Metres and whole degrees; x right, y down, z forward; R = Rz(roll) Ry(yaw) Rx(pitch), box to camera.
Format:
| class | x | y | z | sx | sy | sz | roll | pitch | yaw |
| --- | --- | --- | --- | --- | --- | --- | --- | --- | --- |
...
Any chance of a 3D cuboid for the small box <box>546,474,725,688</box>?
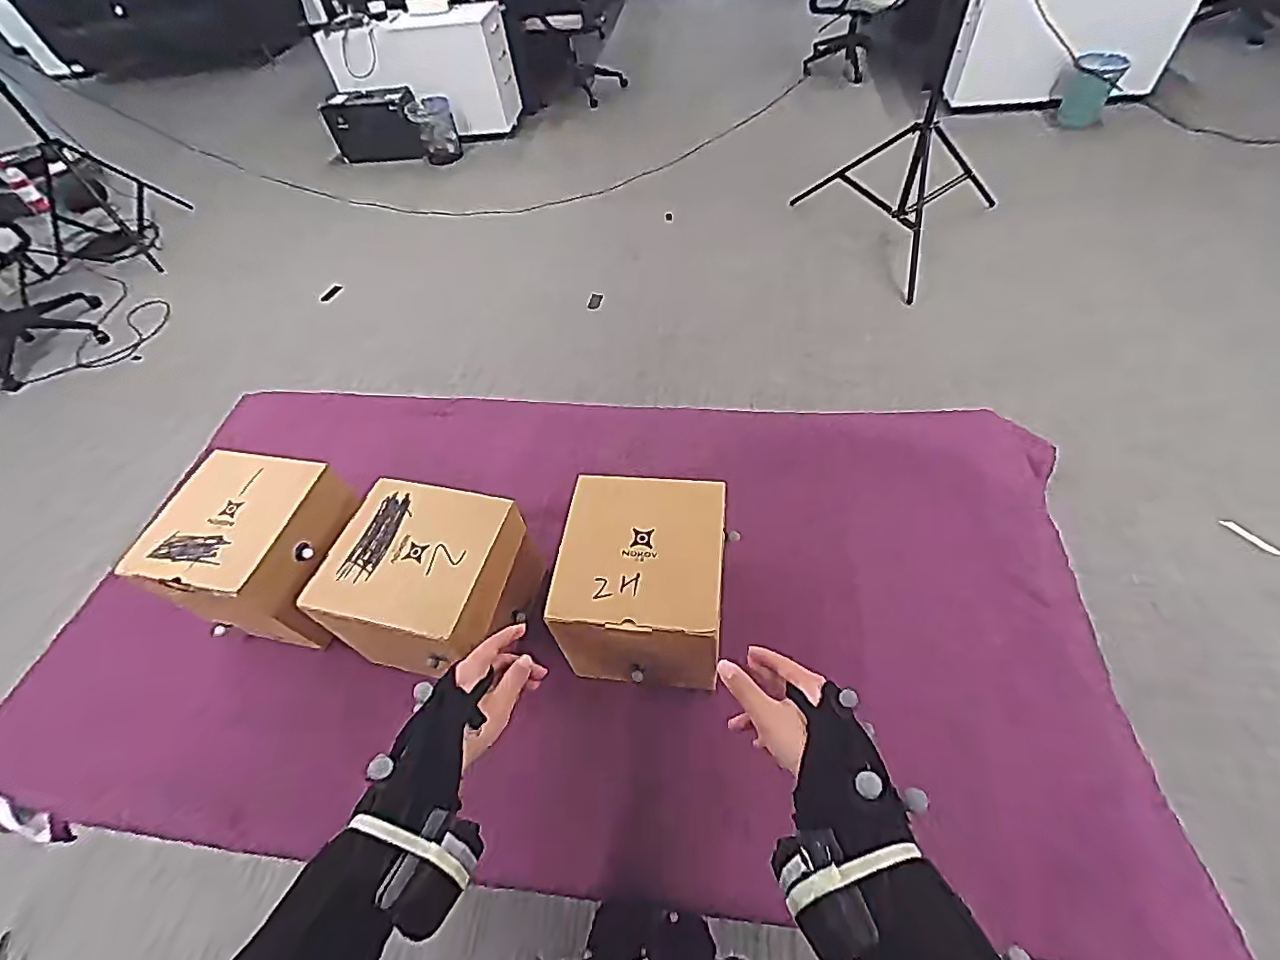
| class | x | y | z | sx | sy | sz | roll | pitch | yaw |
| --- | --- | --- | --- | --- | --- | --- | --- | --- | --- |
| small box | 0.007 | 0.115 | 0.615 | 0.168 | 0.176 | 0.179 | 3 | 53 | 9 |

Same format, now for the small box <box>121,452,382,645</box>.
| class | x | y | z | sx | sy | sz | roll | pitch | yaw |
| --- | --- | --- | --- | --- | --- | --- | --- | --- | --- |
| small box | -0.465 | 0.090 | 0.685 | 0.168 | 0.176 | 0.179 | 7 | 54 | 11 |
